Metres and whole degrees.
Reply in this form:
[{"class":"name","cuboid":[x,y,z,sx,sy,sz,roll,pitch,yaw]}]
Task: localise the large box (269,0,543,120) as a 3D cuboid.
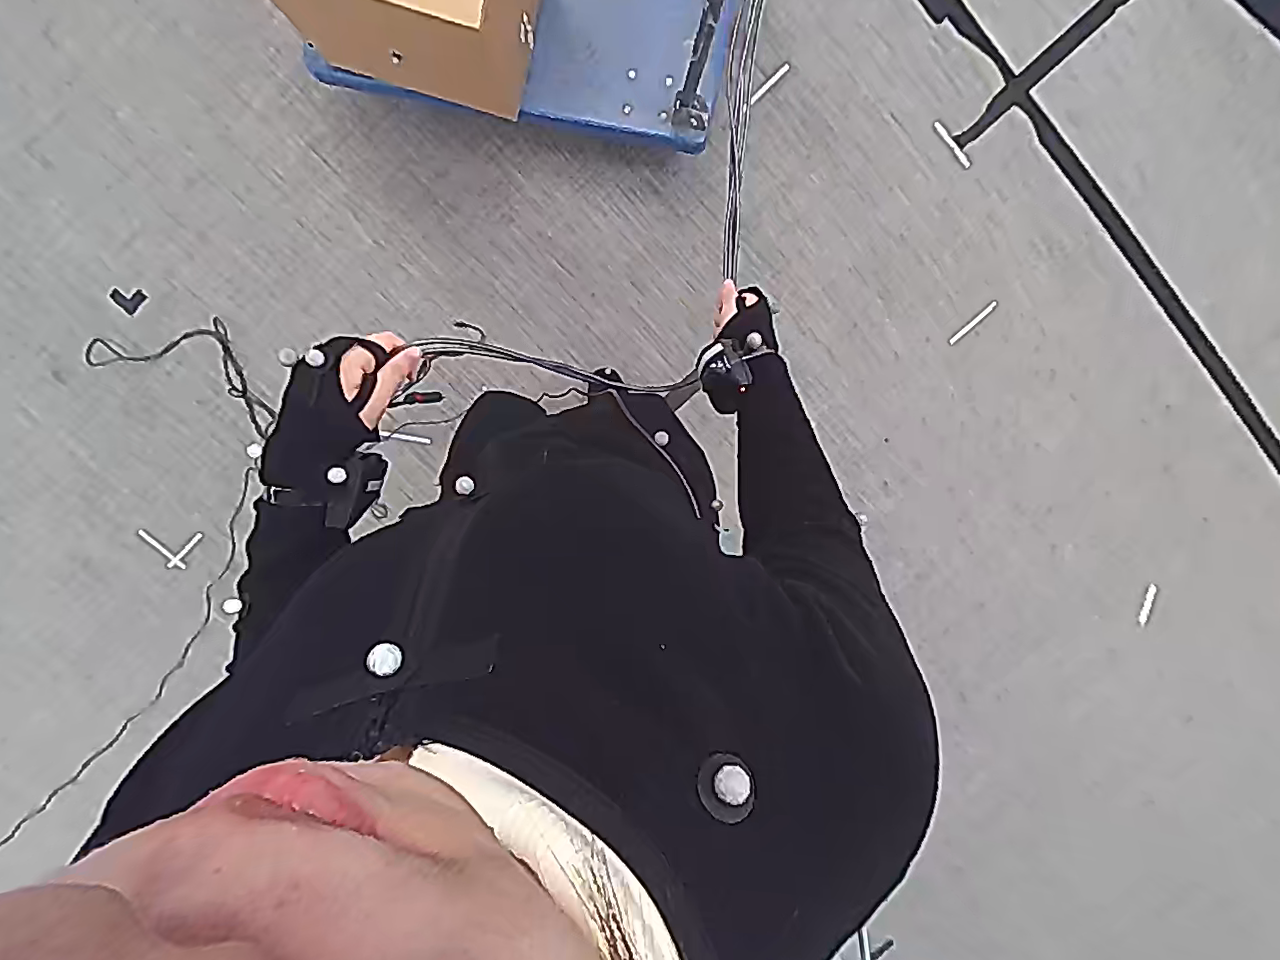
[{"class":"large box","cuboid":[-0.405,-0.924,0.970,0.408,0.320,0.320,14,99,-3]}]
